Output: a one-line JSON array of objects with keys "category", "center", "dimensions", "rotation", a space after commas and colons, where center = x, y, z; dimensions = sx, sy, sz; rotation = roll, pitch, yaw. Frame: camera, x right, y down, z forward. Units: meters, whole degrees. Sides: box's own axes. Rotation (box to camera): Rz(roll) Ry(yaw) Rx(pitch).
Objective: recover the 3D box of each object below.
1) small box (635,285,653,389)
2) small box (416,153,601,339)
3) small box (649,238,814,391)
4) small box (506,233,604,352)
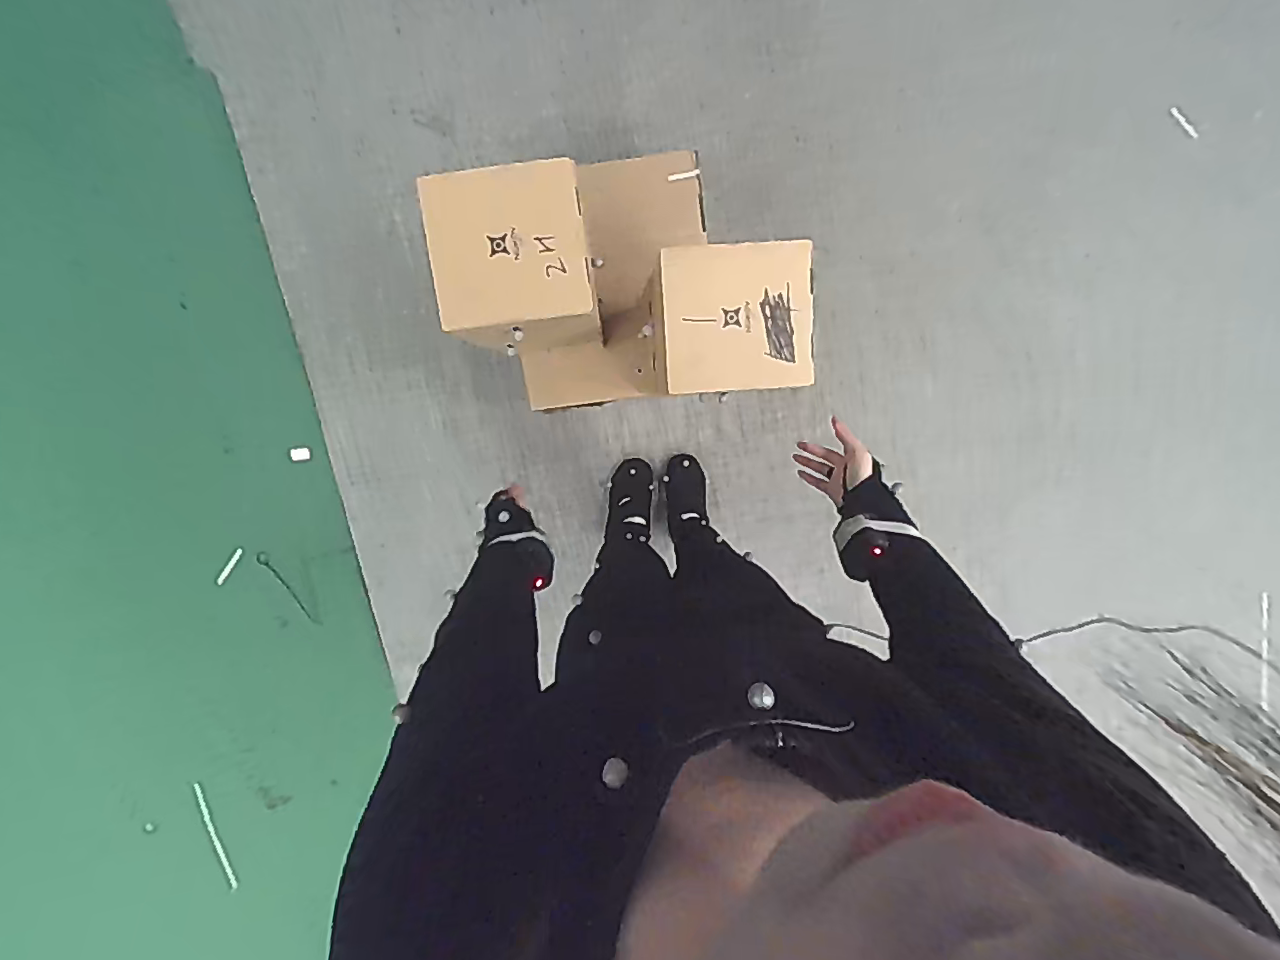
[{"category": "small box", "center": [0.080, -0.264, 1.014], "dimensions": [0.168, 0.176, 0.179], "rotation": [-5, 98, -3]}, {"category": "small box", "center": [-0.149, -0.275, 0.672], "dimensions": [0.179, 0.176, 0.168], "rotation": [-7, 99, 1]}, {"category": "small box", "center": [0.108, -0.202, 0.695], "dimensions": [0.179, 0.176, 0.168], "rotation": [-4, 99, -3]}, {"category": "small box", "center": [-0.157, -0.338, 0.997], "dimensions": [0.168, 0.176, 0.179], "rotation": [-5, 98, 0]}]
